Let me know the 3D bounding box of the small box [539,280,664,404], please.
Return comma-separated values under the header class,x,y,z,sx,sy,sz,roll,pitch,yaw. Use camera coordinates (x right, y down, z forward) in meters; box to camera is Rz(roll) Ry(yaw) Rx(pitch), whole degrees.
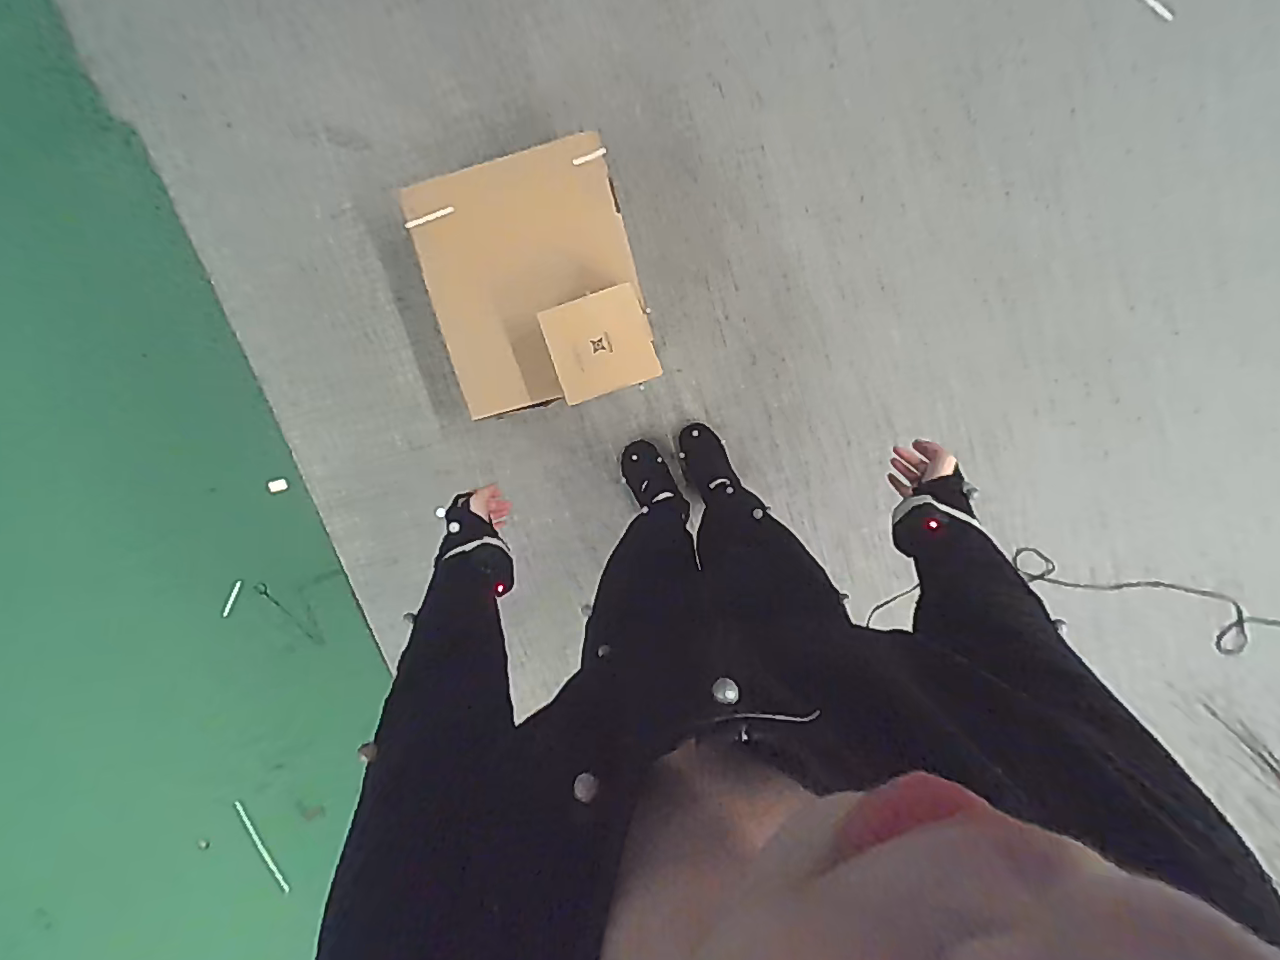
class,x,y,z,sx,sy,sz,roll,pitch,yaw
small box,-0.066,-0.248,0.990,0.179,0.176,0.168,-18,100,4
